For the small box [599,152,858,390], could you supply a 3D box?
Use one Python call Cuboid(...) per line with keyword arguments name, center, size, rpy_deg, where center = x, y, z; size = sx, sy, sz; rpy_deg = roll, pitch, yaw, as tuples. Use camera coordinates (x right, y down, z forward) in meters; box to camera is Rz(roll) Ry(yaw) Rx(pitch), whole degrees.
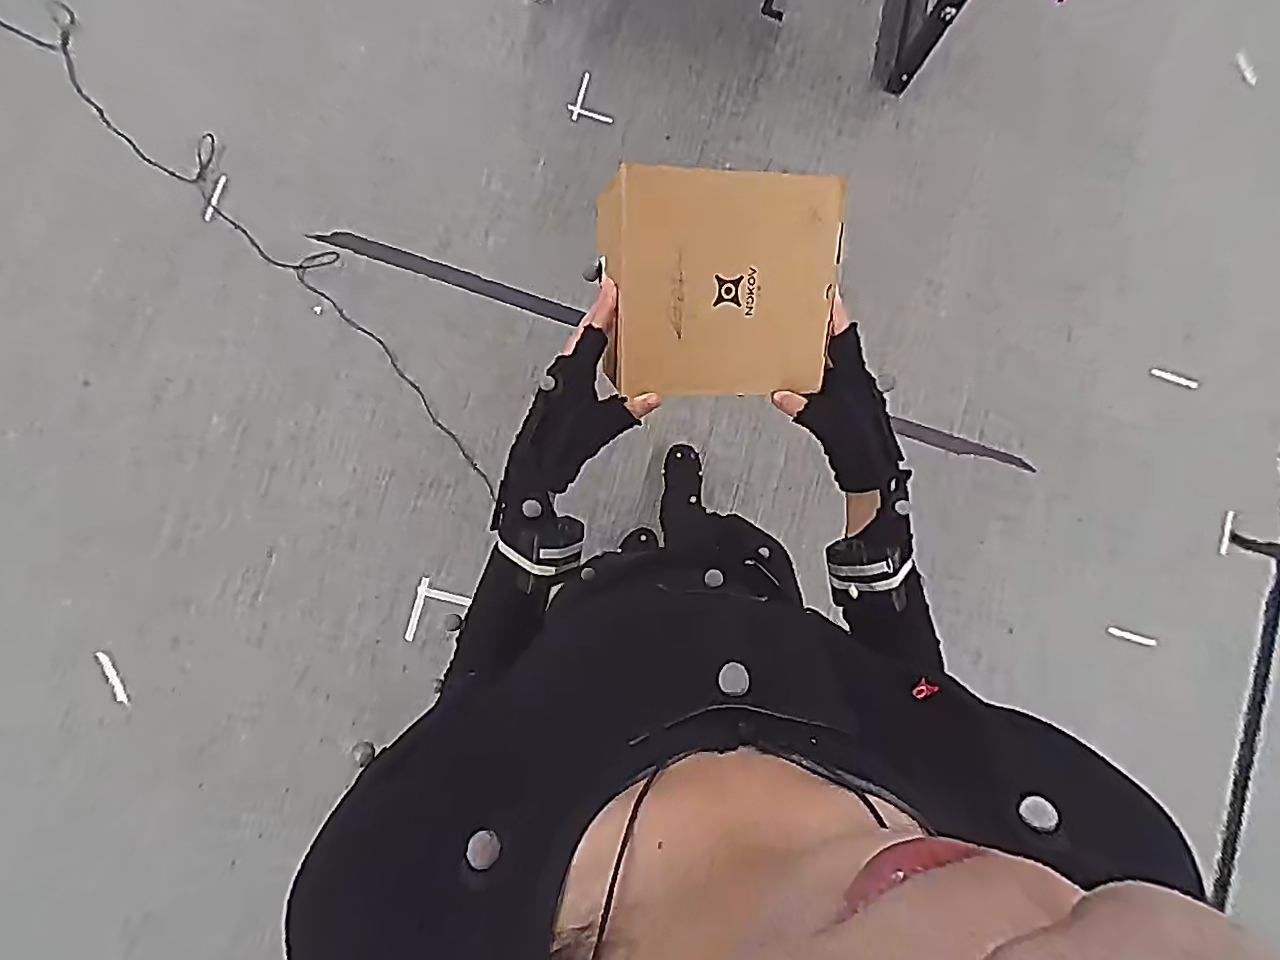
Cuboid(name="small box", center=(0.061, -0.178, 0.484), size=(0.179, 0.176, 0.168), rpy_deg=(-4, 109, -10))
